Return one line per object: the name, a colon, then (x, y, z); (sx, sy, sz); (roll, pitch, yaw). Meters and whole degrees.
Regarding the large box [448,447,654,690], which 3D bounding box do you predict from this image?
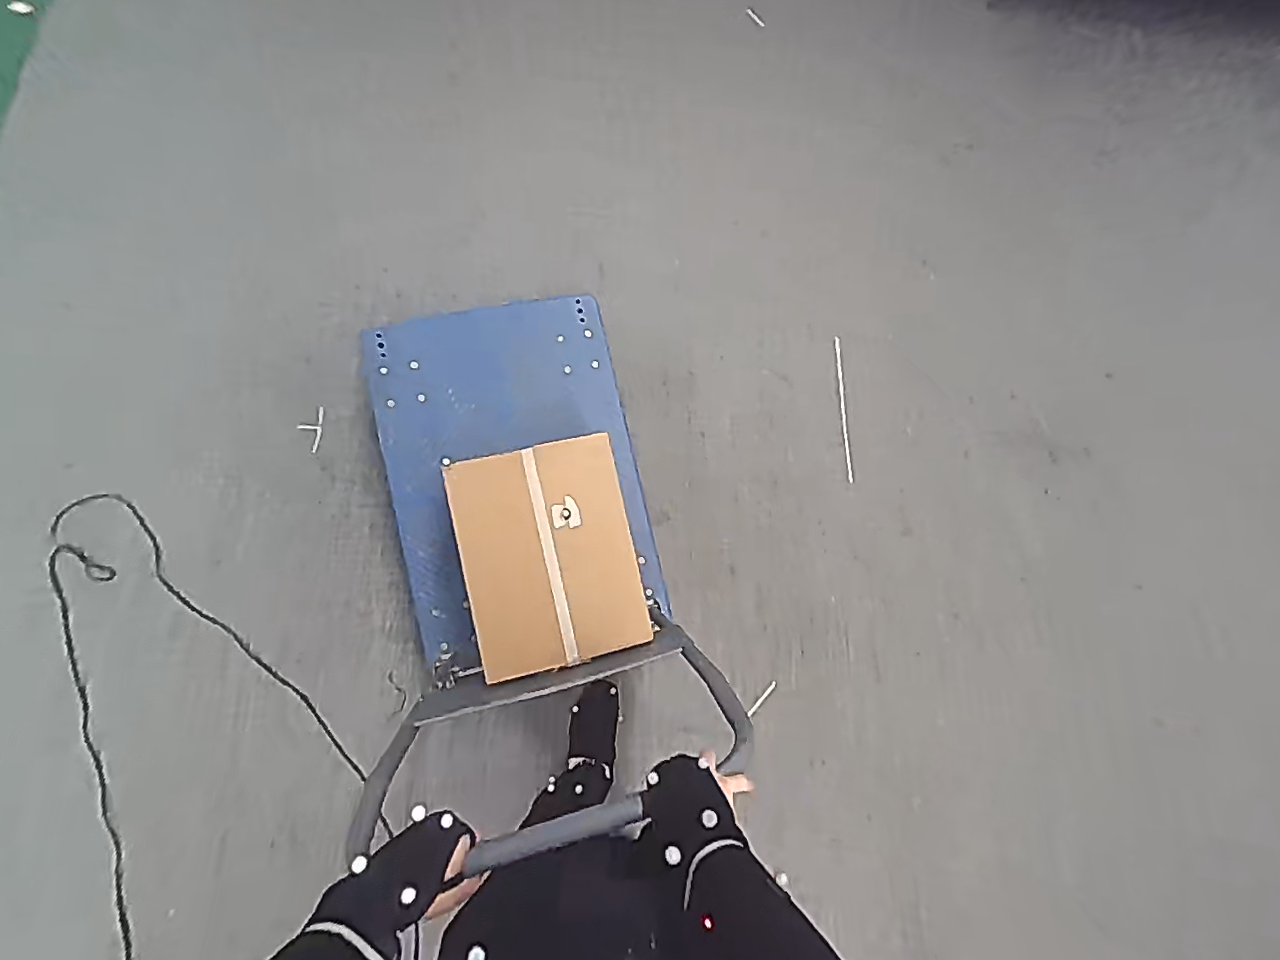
large box: (-0.184, 0.177, 1.163); (0.320, 0.320, 0.408); (-12, 85, -10)
